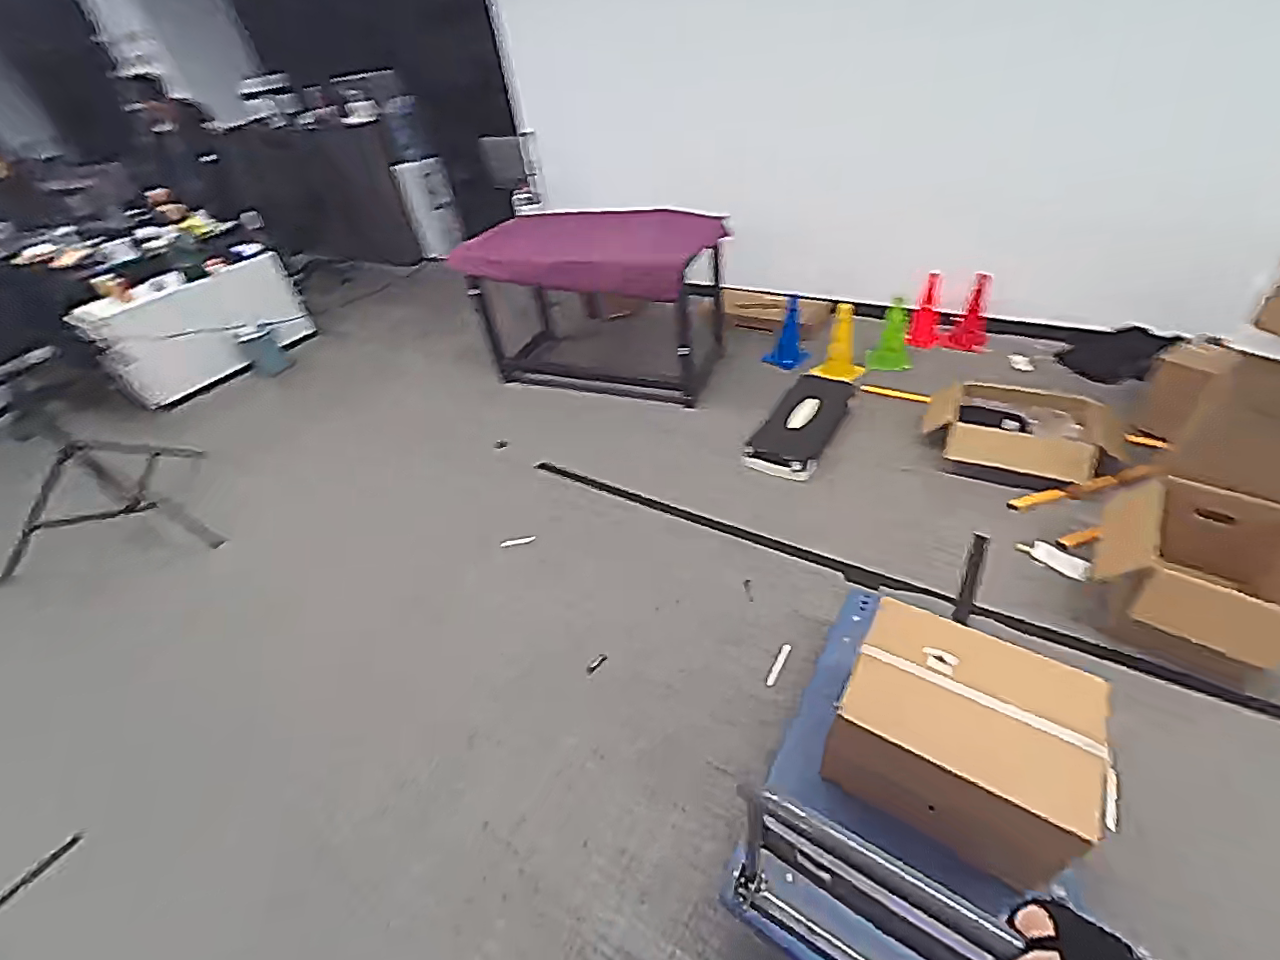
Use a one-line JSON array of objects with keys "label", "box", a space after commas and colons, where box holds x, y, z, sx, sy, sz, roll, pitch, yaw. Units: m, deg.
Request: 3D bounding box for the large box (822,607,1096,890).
[{"label": "large box", "box": [0.638, 0.539, 1.123, 0.408, 0.320, 0.320, 19, 47, 30]}]
